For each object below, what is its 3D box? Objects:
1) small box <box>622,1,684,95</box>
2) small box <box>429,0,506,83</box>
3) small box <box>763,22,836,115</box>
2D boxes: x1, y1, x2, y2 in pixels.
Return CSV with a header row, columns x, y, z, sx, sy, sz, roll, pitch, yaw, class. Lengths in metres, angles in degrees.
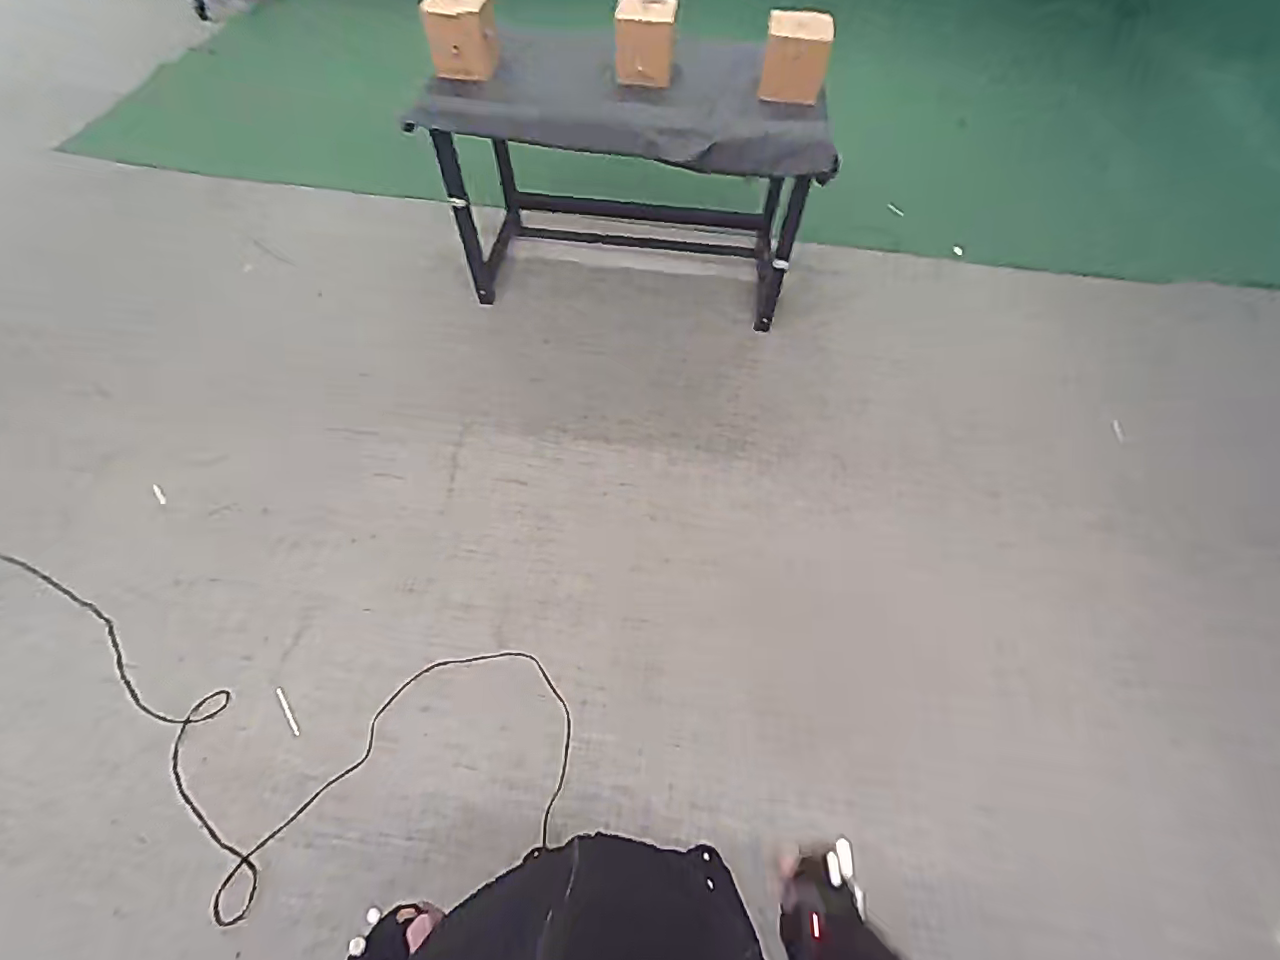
x,y,z,sx,sy,sz,roll,pitch,yaw,class
0.037,-1.323,1.657,0.168,0.176,0.179,7,60,2,small box
-0.515,-1.341,1.641,0.168,0.176,0.179,6,59,0,small box
0.473,-1.231,1.623,0.179,0.176,0.168,10,60,2,small box
